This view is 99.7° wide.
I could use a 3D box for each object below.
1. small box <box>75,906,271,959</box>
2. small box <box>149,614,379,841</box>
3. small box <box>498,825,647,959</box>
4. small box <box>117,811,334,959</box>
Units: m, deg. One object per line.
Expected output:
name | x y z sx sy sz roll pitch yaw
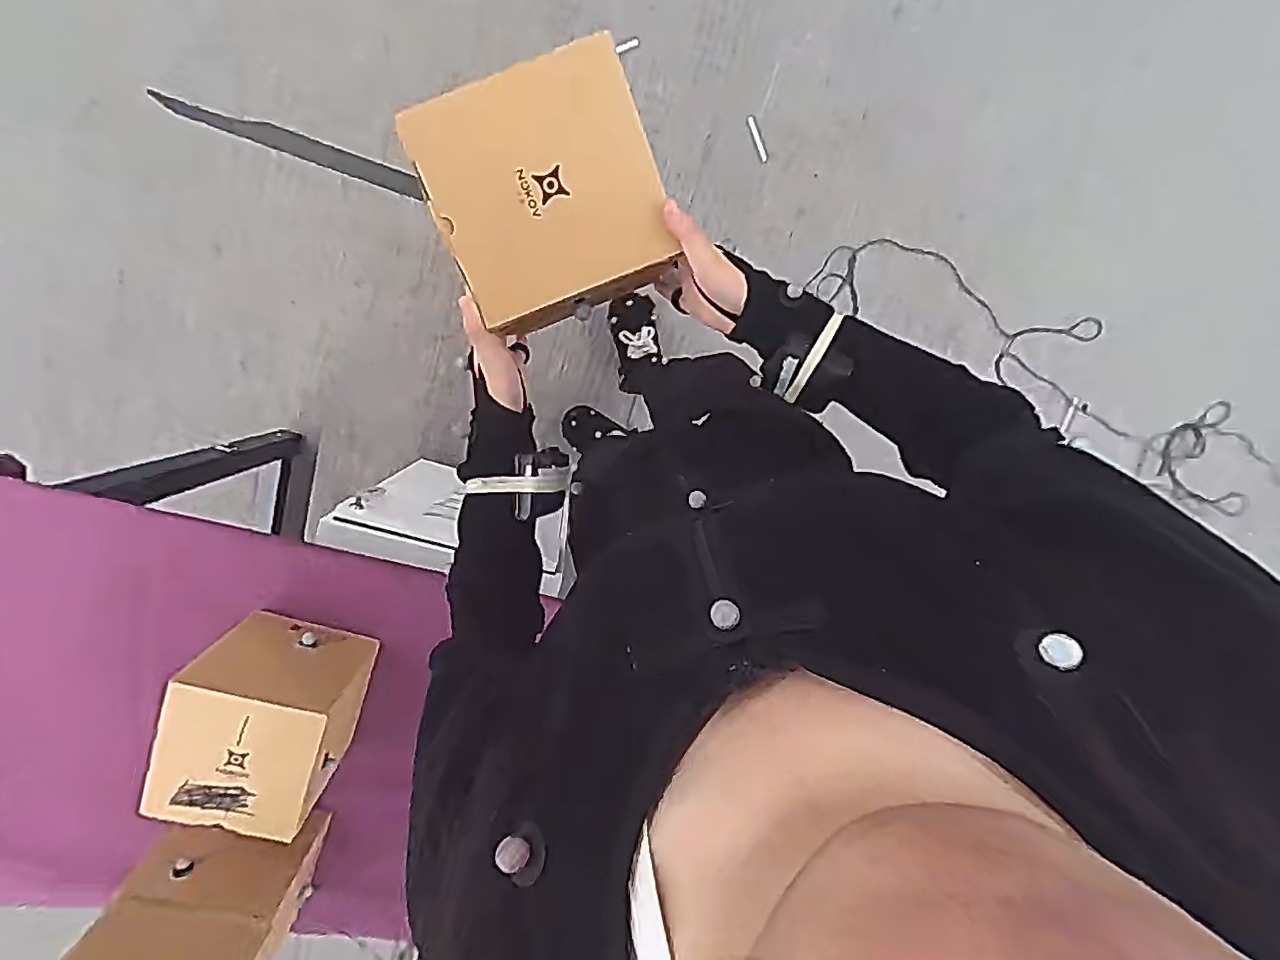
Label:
small box | -0.533 0.597 0.567 0.179 0.176 0.168 20 98 -11
small box | -0.454 0.300 0.681 0.168 0.176 0.179 18 100 -10
small box | -0.105 0.664 0.800 0.168 0.176 0.179 21 97 -11
small box | -0.553 0.562 0.726 0.179 0.176 0.168 19 99 -10
